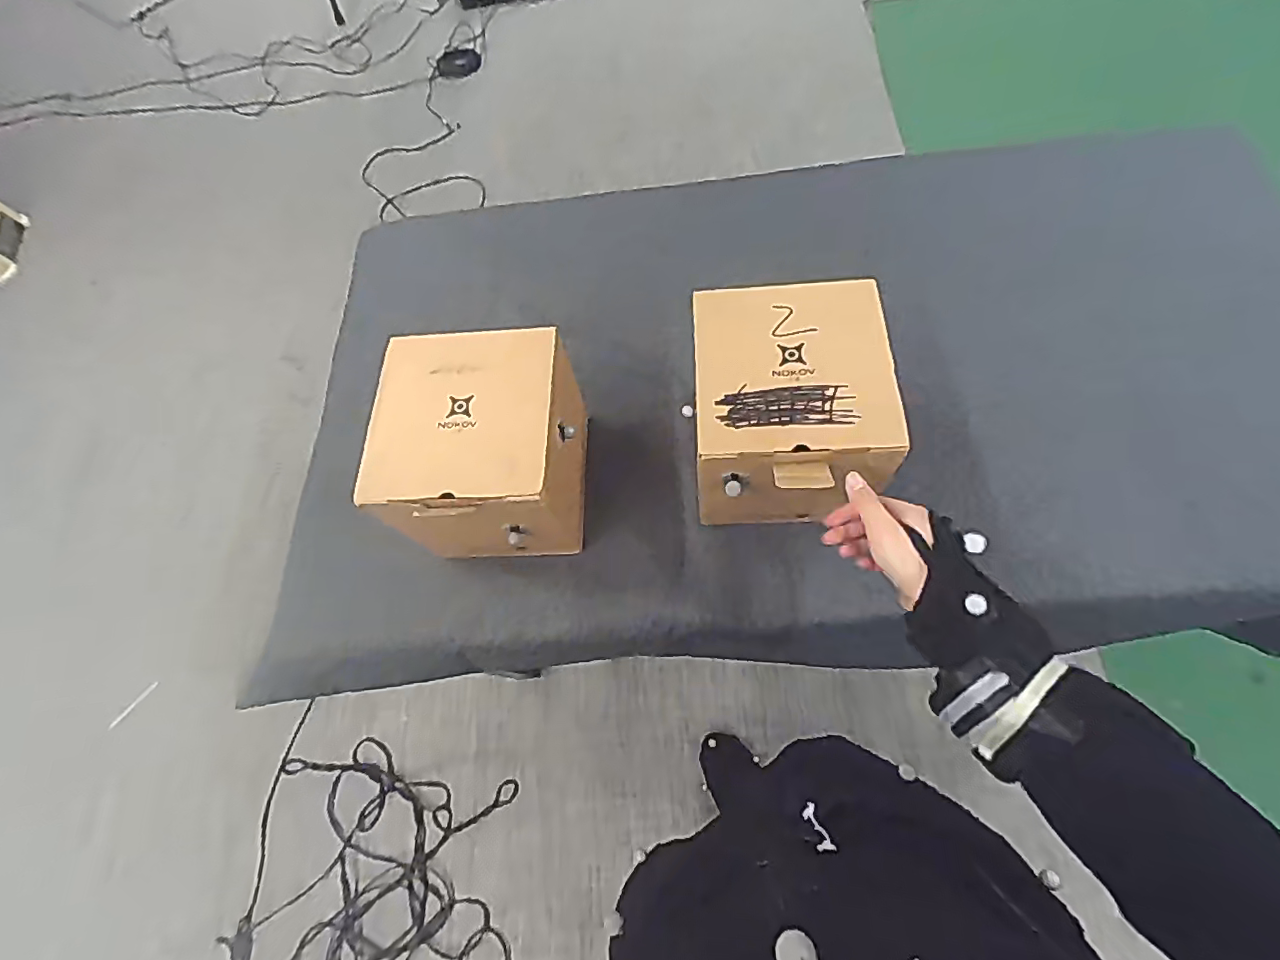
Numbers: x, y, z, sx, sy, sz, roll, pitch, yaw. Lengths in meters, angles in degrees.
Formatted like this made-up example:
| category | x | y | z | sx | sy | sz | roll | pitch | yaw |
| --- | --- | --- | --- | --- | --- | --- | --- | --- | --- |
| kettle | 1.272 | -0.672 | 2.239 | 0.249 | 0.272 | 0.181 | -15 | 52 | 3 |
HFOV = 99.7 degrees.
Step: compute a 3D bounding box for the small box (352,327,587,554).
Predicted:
| category | x | y | z | sx | sy | sz | roll | pitch | yaw |
| --- | --- | --- | --- | --- | --- | --- | --- | --- | --- |
| small box | -0.150 | -0.027 | 0.545 | 0.168 | 0.176 | 0.179 | -2 | 65 | 4 |
